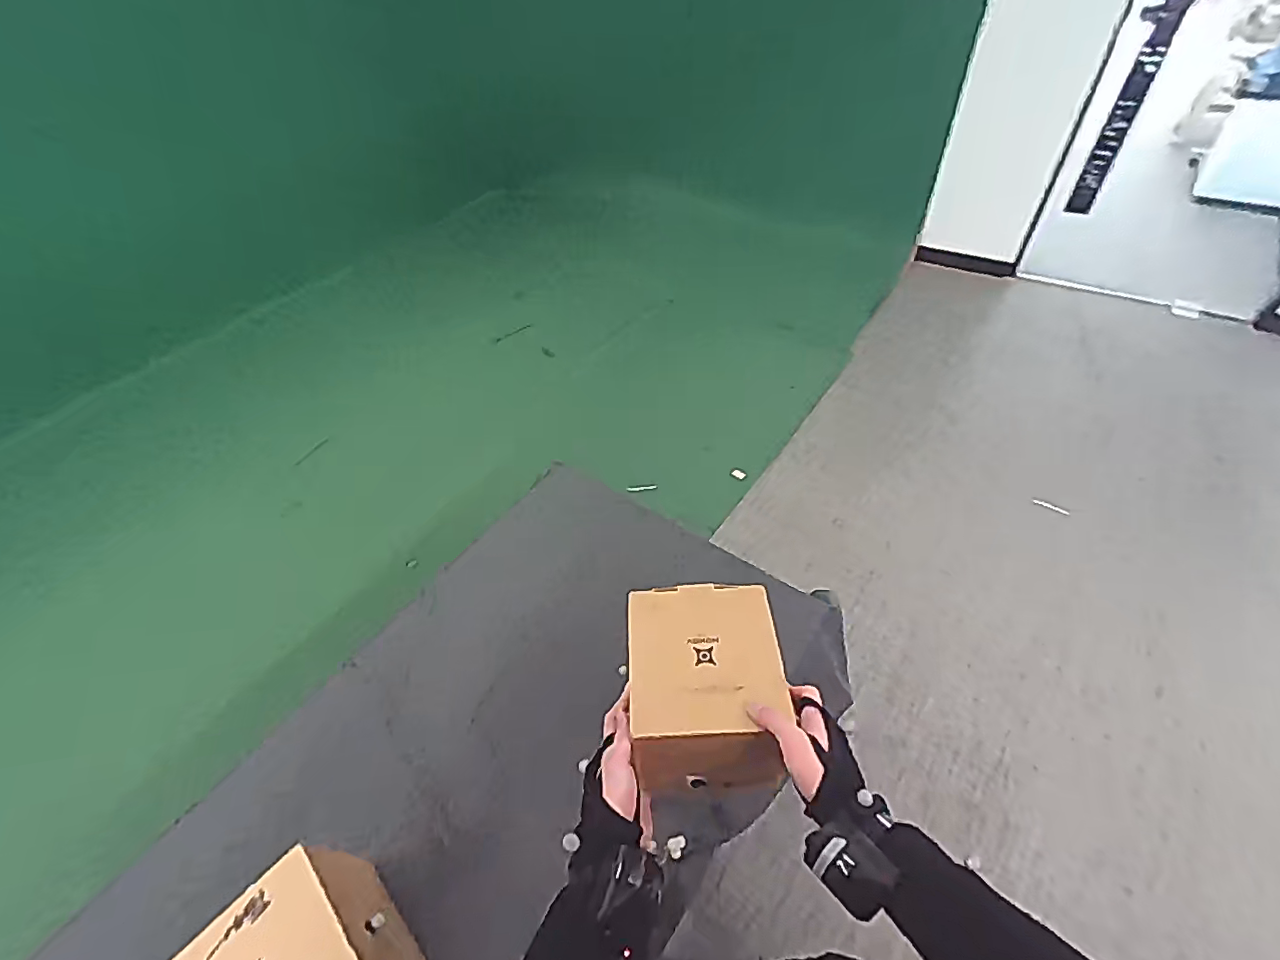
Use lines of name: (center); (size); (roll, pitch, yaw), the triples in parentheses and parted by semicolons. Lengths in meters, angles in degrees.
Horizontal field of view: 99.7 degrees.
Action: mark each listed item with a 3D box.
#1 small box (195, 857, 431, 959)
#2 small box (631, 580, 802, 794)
small box: (-0.352, 0.550, 0.580); (0.179, 0.176, 0.168); (29, 60, 30)
small box: (0.080, 0.237, 0.628); (0.168, 0.176, 0.179); (-1, 42, 4)
